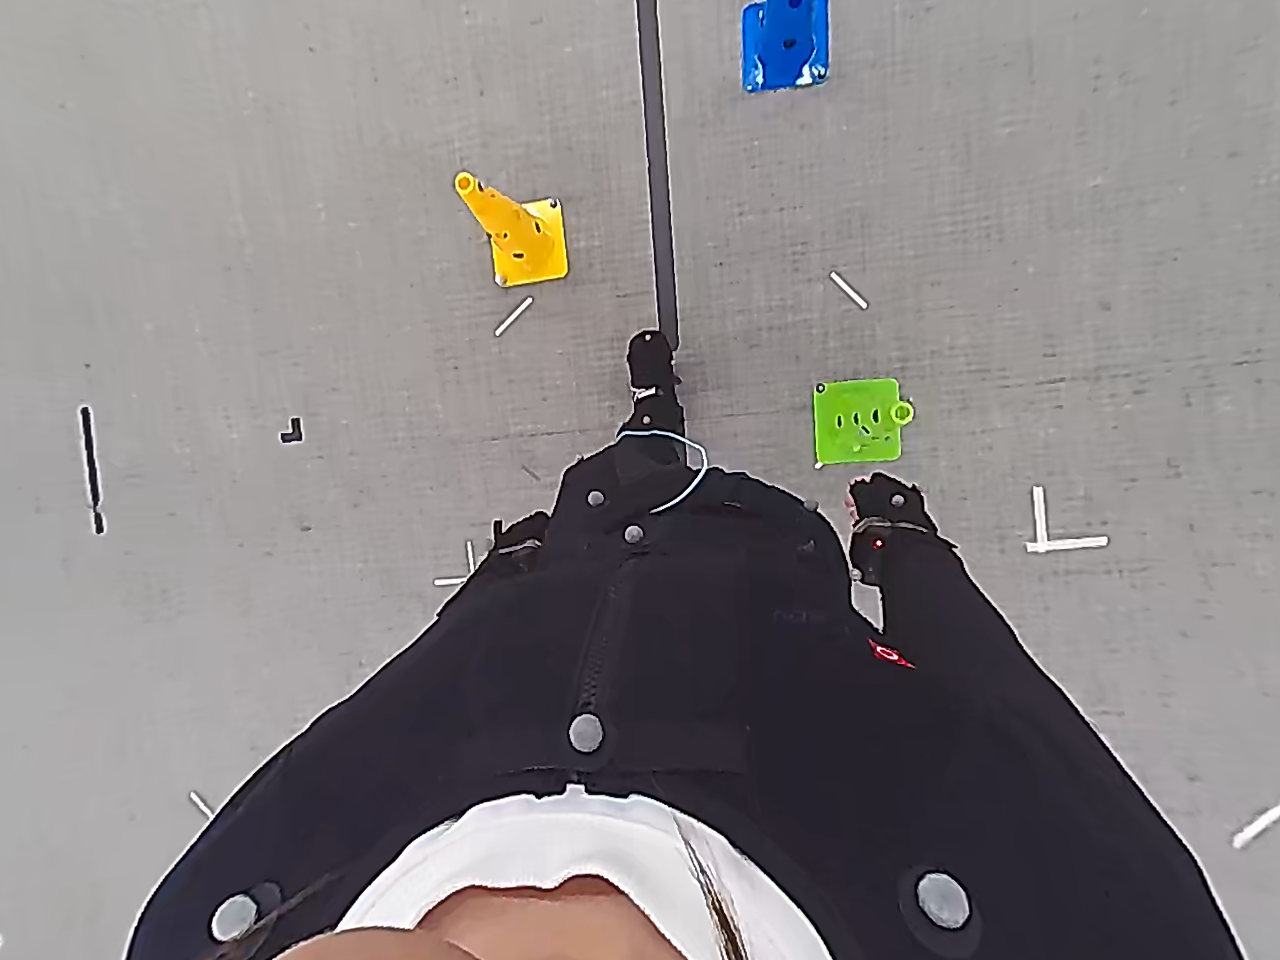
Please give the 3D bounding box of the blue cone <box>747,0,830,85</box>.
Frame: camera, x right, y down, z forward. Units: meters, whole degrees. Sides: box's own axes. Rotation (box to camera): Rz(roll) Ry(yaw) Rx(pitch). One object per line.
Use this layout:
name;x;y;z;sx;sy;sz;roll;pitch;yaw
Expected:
blue cone;0.330;-1.032;1.127;0.192;0.380;0.193;0;95;8

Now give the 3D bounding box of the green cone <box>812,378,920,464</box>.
green cone;0.505;-0.130;1.154;0.202;0.368;0.200;-4;94;8
